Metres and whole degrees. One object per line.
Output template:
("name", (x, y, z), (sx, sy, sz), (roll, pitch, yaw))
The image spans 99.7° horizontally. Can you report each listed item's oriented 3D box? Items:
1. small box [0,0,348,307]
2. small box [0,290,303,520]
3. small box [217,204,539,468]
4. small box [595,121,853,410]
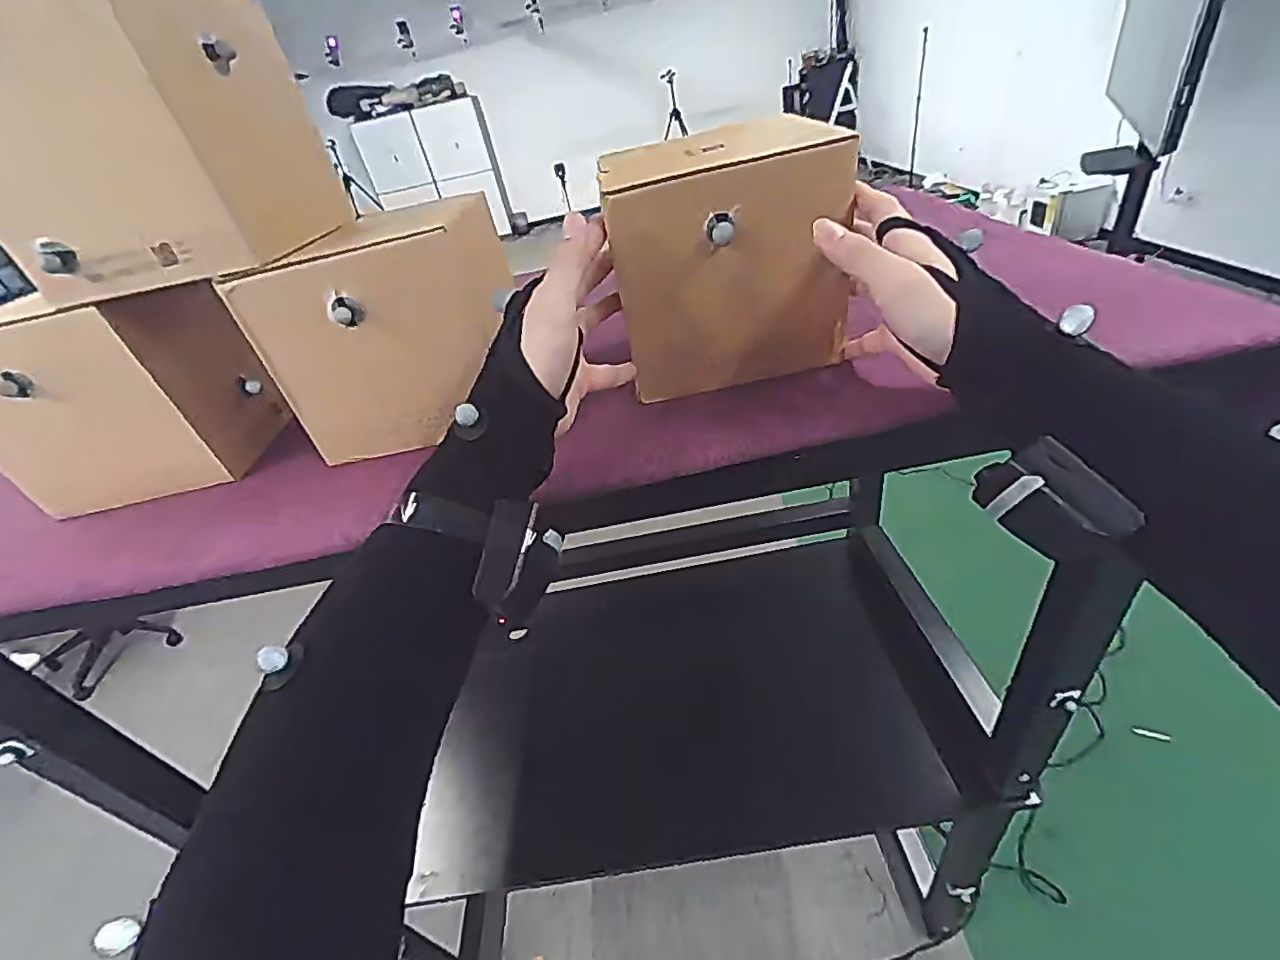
("small box", (-0.362, -0.242, 0.413), (0.168, 0.176, 0.179), (-10, 35, 5))
("small box", (-0.470, -0.083, 0.513), (0.179, 0.176, 0.168), (-13, 37, 2))
("small box", (-0.207, -0.129, 0.489), (0.179, 0.176, 0.168), (-11, 36, 4))
("small box", (0.066, -0.184, 0.470), (0.179, 0.176, 0.168), (-12, 38, 4))
